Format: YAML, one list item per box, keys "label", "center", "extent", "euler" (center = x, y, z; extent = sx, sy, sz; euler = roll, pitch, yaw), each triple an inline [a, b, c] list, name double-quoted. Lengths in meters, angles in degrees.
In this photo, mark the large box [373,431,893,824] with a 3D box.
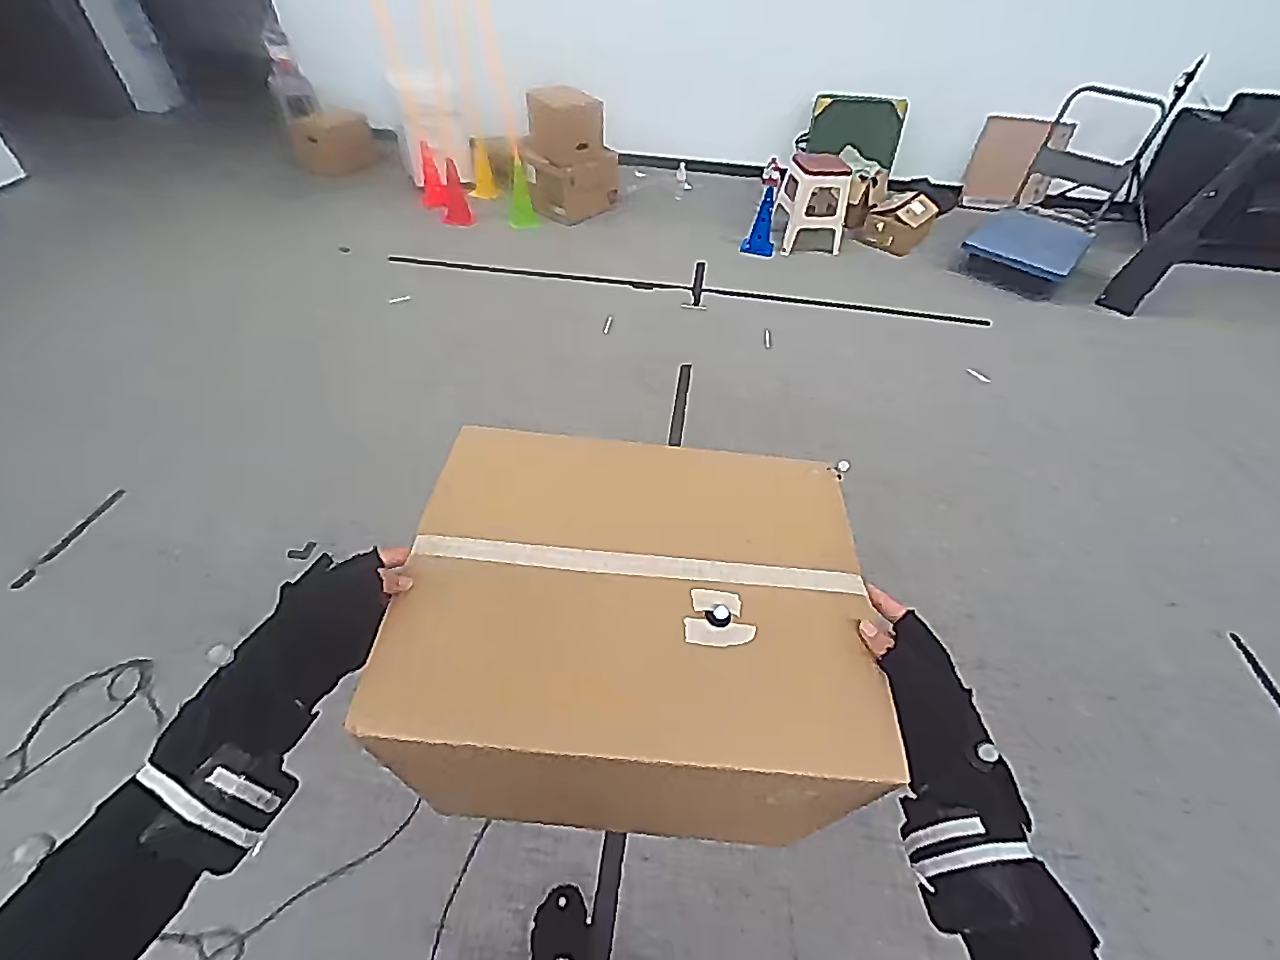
- label: "large box"
  center: [-0.009, 0.174, 0.612]
  extent: [0.408, 0.320, 0.320]
  euler: [6, 50, -1]
